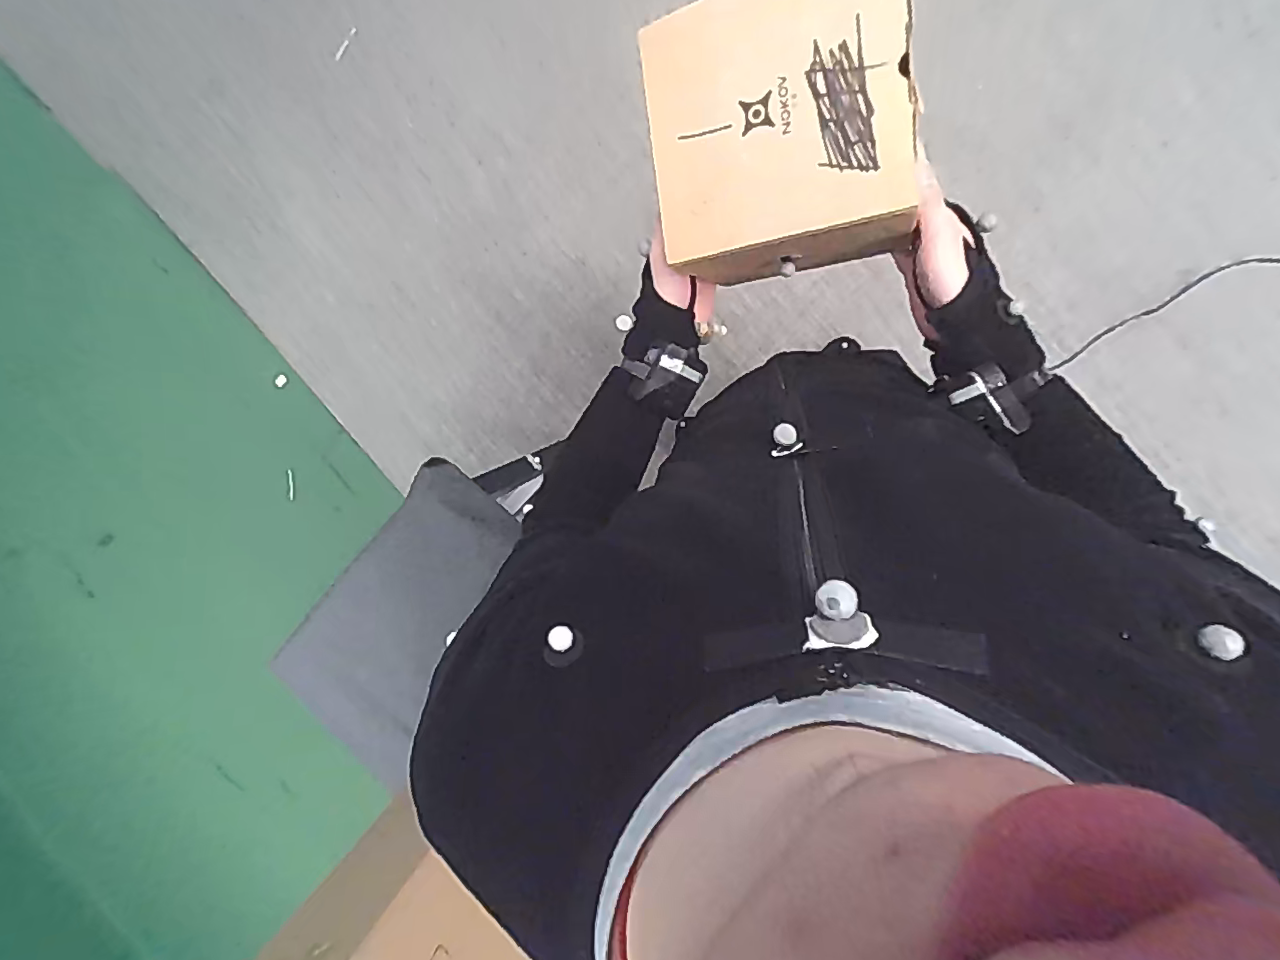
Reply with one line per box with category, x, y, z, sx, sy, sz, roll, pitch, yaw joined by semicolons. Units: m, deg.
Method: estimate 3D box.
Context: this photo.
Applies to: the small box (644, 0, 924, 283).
small box;0.123;-0.265;0.436;0.179;0.176;0.168;-3;101;26
